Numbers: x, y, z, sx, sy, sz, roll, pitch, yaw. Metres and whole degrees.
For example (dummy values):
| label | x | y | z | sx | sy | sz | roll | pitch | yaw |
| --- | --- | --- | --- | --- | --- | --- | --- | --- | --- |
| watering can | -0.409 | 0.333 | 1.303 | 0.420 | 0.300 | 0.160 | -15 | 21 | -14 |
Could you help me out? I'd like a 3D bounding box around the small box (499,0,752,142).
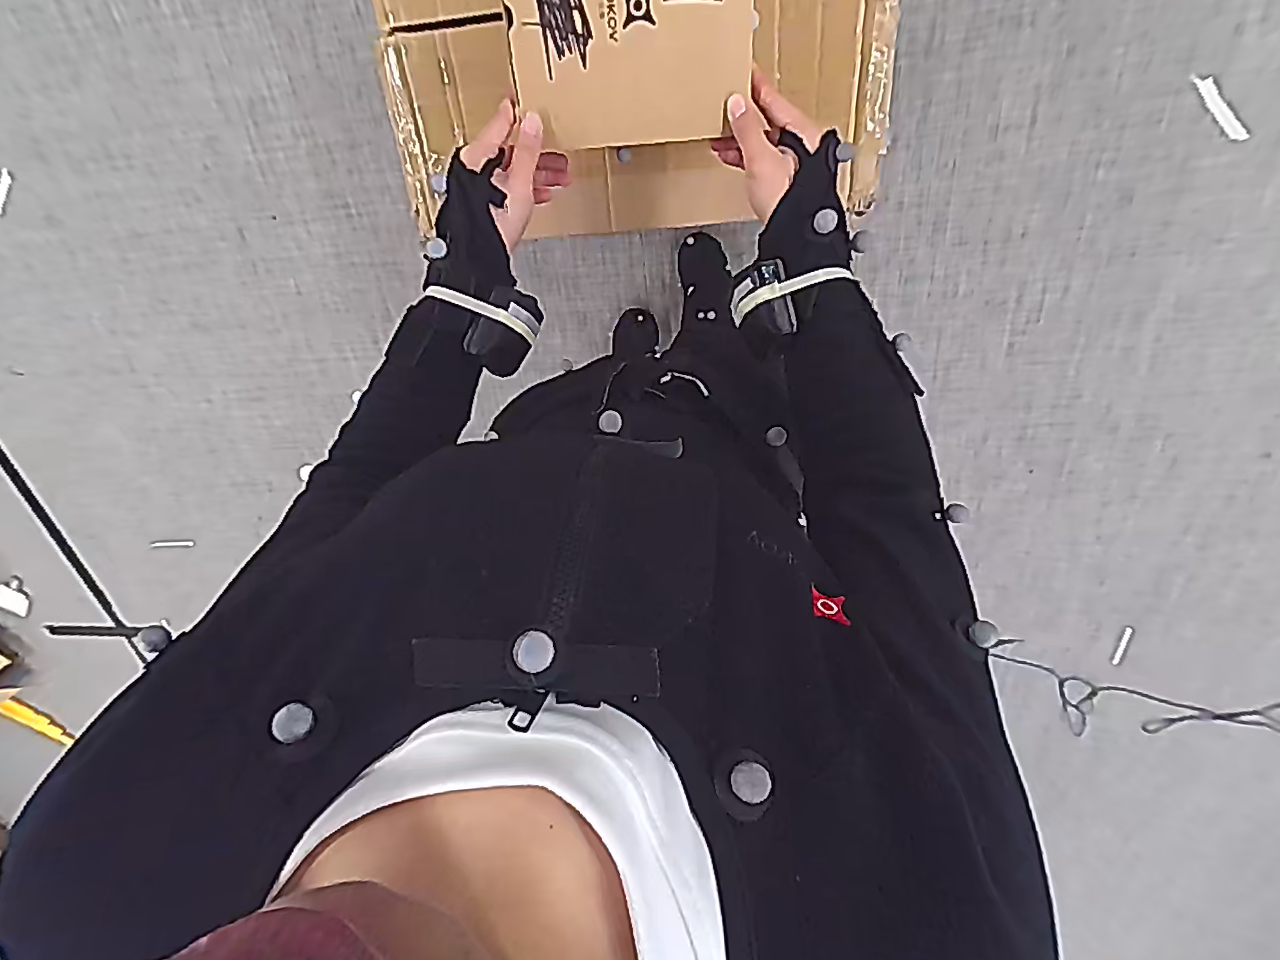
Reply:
| label | x | y | z | sx | sy | sz | roll | pitch | yaw |
| --- | --- | --- | --- | --- | --- | --- | --- | --- | --- |
| small box | -0.007 | -0.373 | 0.432 | 0.179 | 0.176 | 0.168 | -2 | 125 | 4 |
